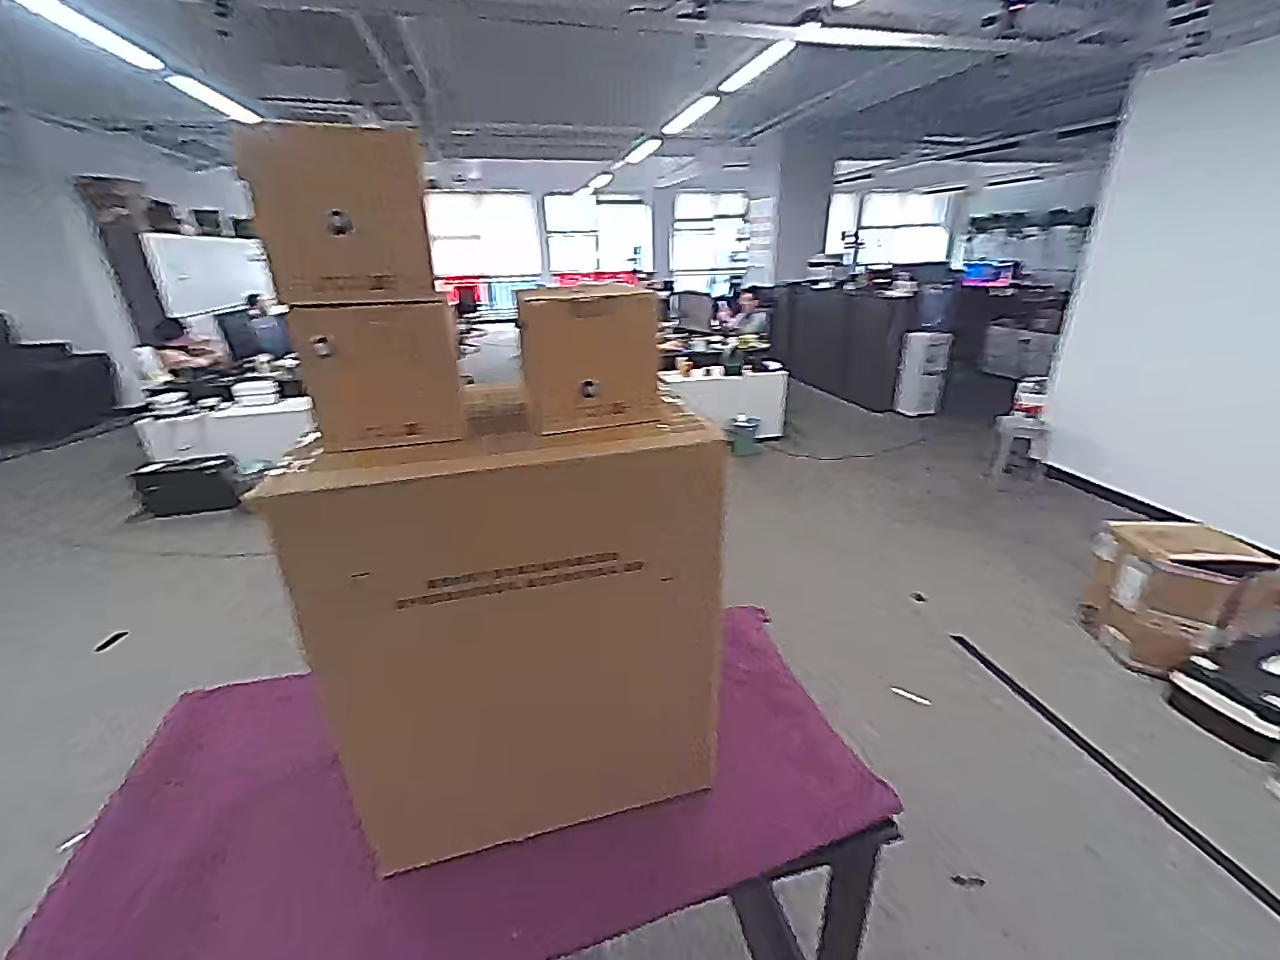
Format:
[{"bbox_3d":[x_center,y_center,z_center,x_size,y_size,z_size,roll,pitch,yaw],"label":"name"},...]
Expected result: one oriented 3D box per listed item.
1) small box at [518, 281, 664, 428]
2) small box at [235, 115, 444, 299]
[{"bbox_3d":[-0.071,-0.179,0.747,0.168,0.176,0.179,-9,25,-15],"label":"small box"},{"bbox_3d":[-0.323,-0.301,0.625,0.168,0.176,0.179,-7,23,-17],"label":"small box"}]
